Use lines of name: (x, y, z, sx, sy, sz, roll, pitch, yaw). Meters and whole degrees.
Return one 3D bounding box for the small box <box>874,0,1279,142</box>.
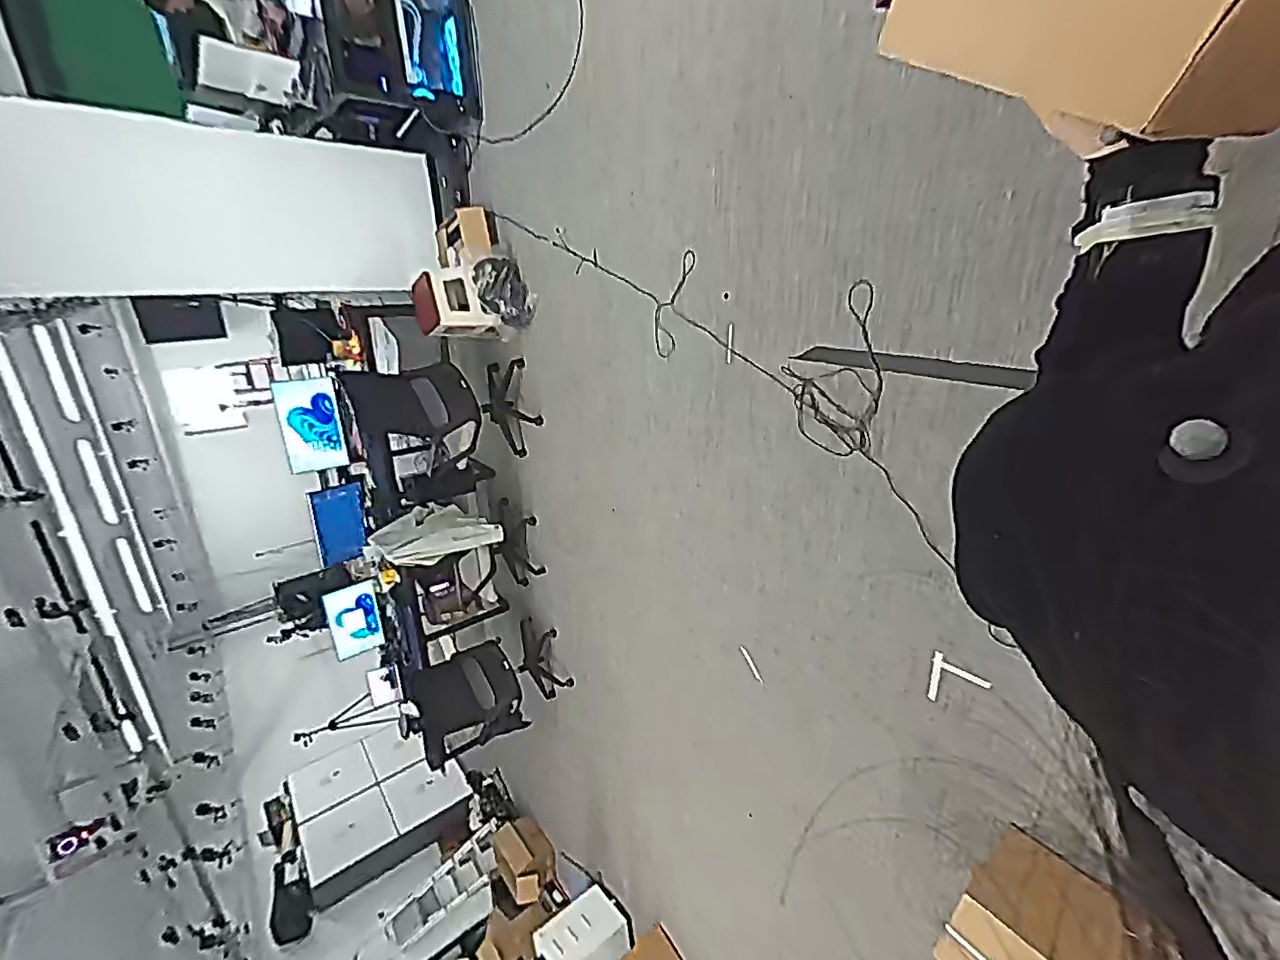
small box: (0.274, -0.298, 0.283, 0.179, 0.176, 0.168, 54, 149, 35)
